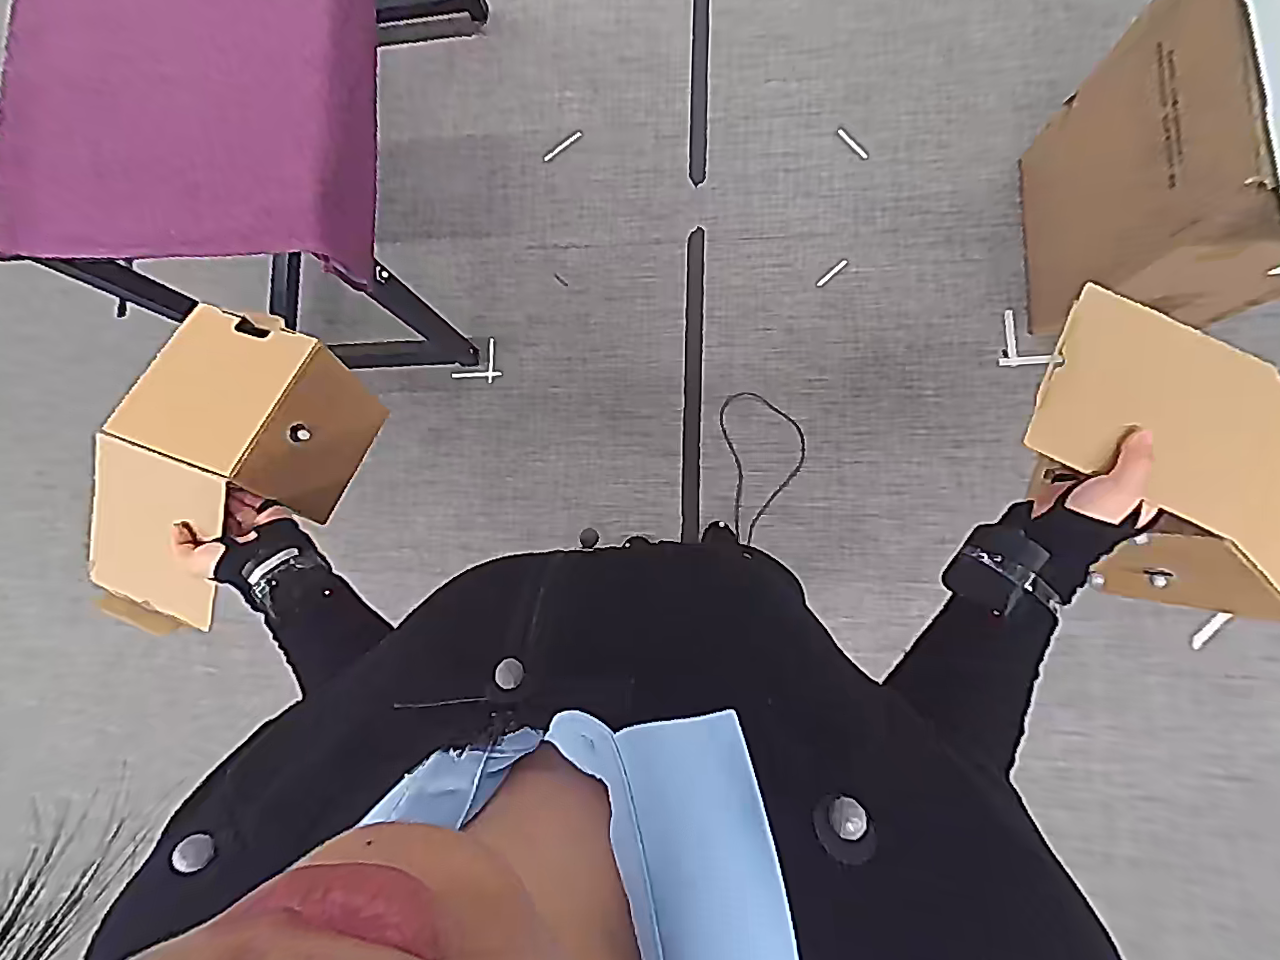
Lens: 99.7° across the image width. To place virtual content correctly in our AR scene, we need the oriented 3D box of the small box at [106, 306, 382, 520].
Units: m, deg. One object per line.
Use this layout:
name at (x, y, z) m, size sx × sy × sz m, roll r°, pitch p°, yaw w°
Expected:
small box at (-0.450, -0.070, 0.652) m, size 0.168 × 0.176 × 0.179 m, roll 18°, pitch 70°, yaw 9°
